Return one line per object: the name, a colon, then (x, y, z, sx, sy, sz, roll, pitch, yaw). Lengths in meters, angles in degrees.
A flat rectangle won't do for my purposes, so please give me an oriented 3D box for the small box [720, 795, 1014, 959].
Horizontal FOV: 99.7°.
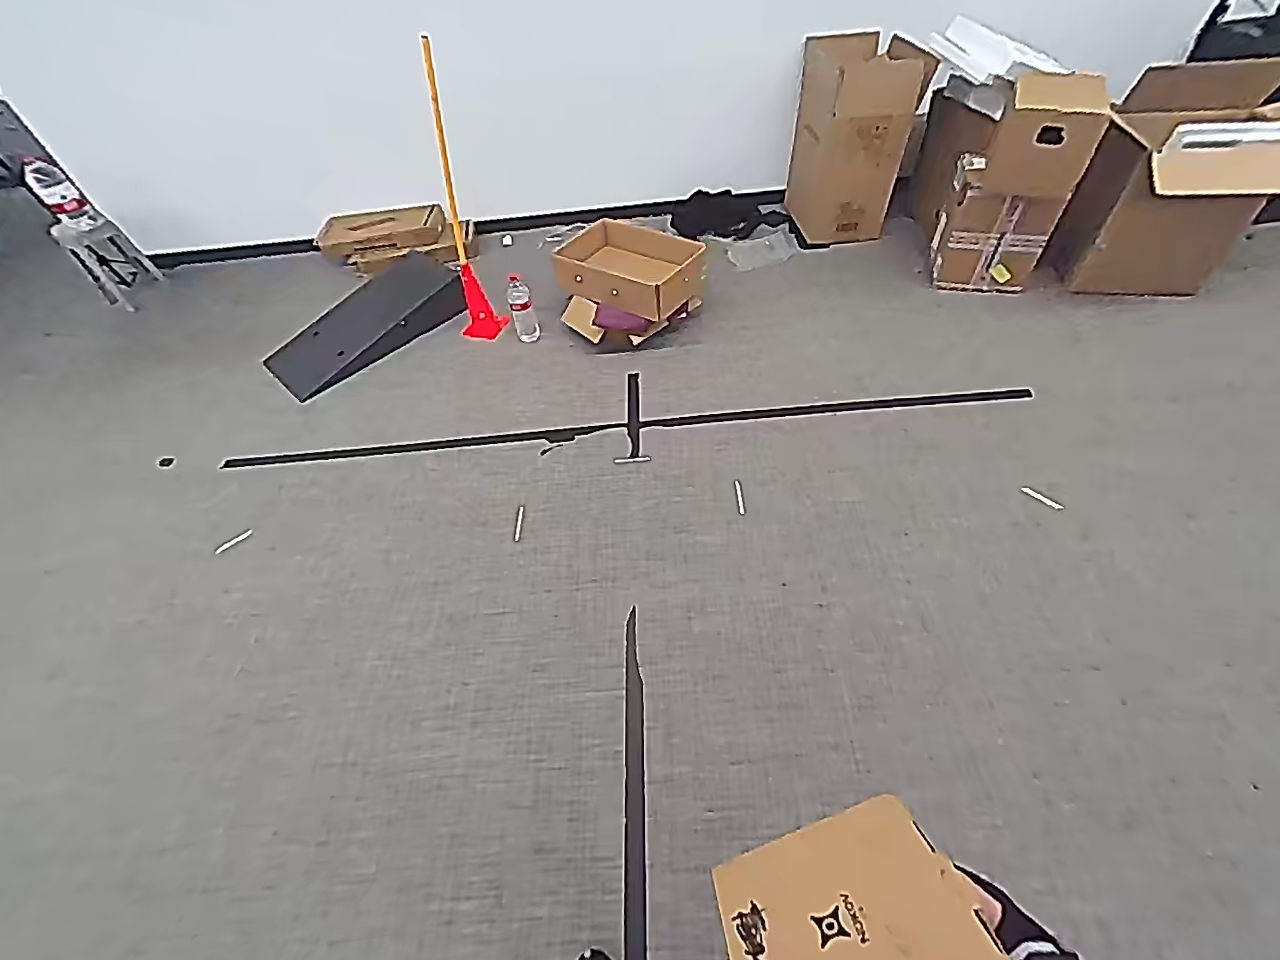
small box: (0.183, 0.397, 0.415, 0.179, 0.176, 0.168, -23, 10, 1)
